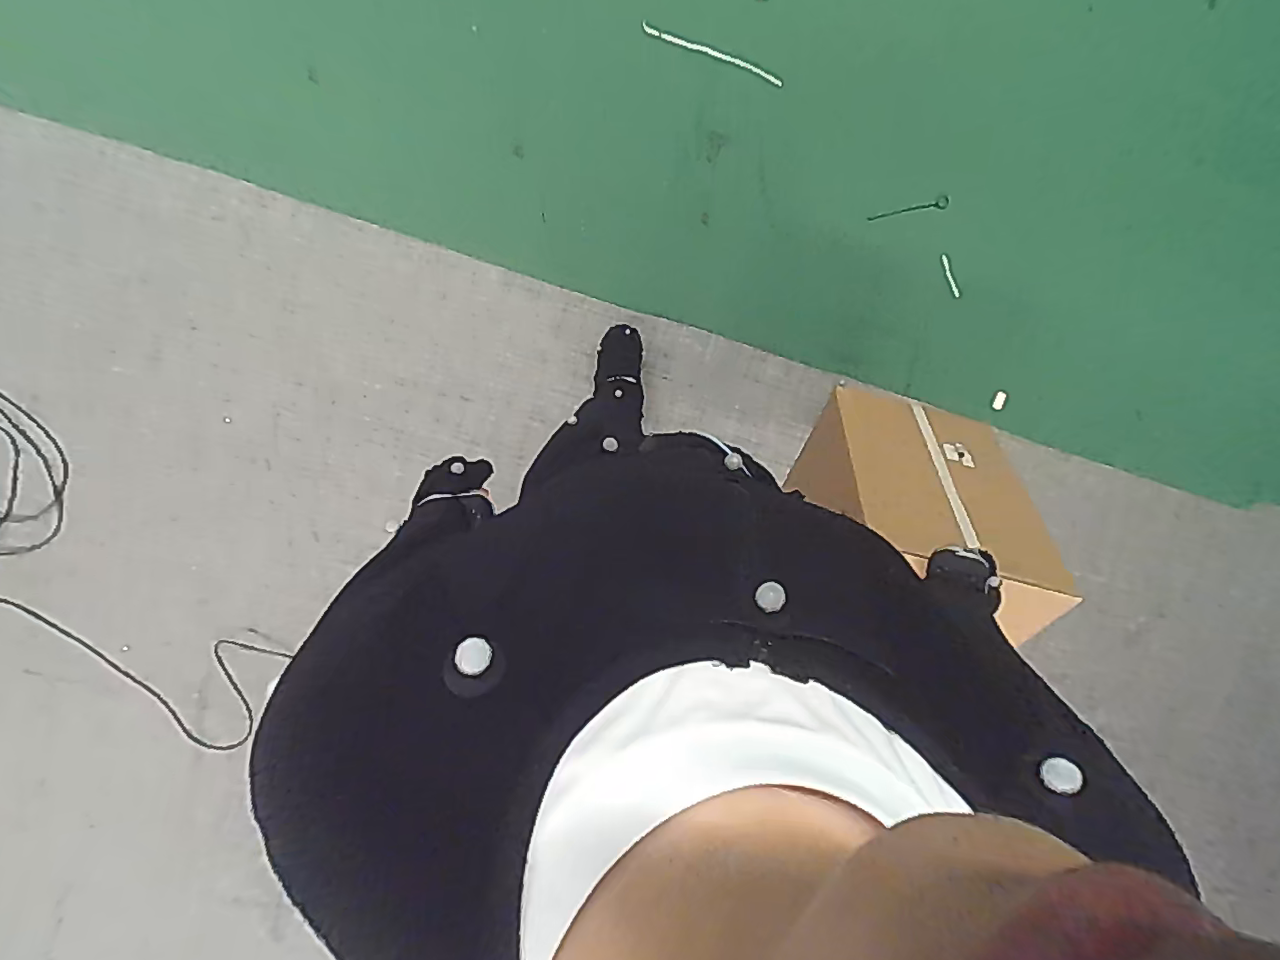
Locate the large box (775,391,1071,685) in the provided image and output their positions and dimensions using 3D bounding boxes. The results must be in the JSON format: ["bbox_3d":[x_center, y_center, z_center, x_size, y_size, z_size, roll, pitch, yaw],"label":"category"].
[{"bbox_3d":[0.457,0.100,0.998,0.320,0.408,0.320,15,132,-3],"label":"large box"}]
